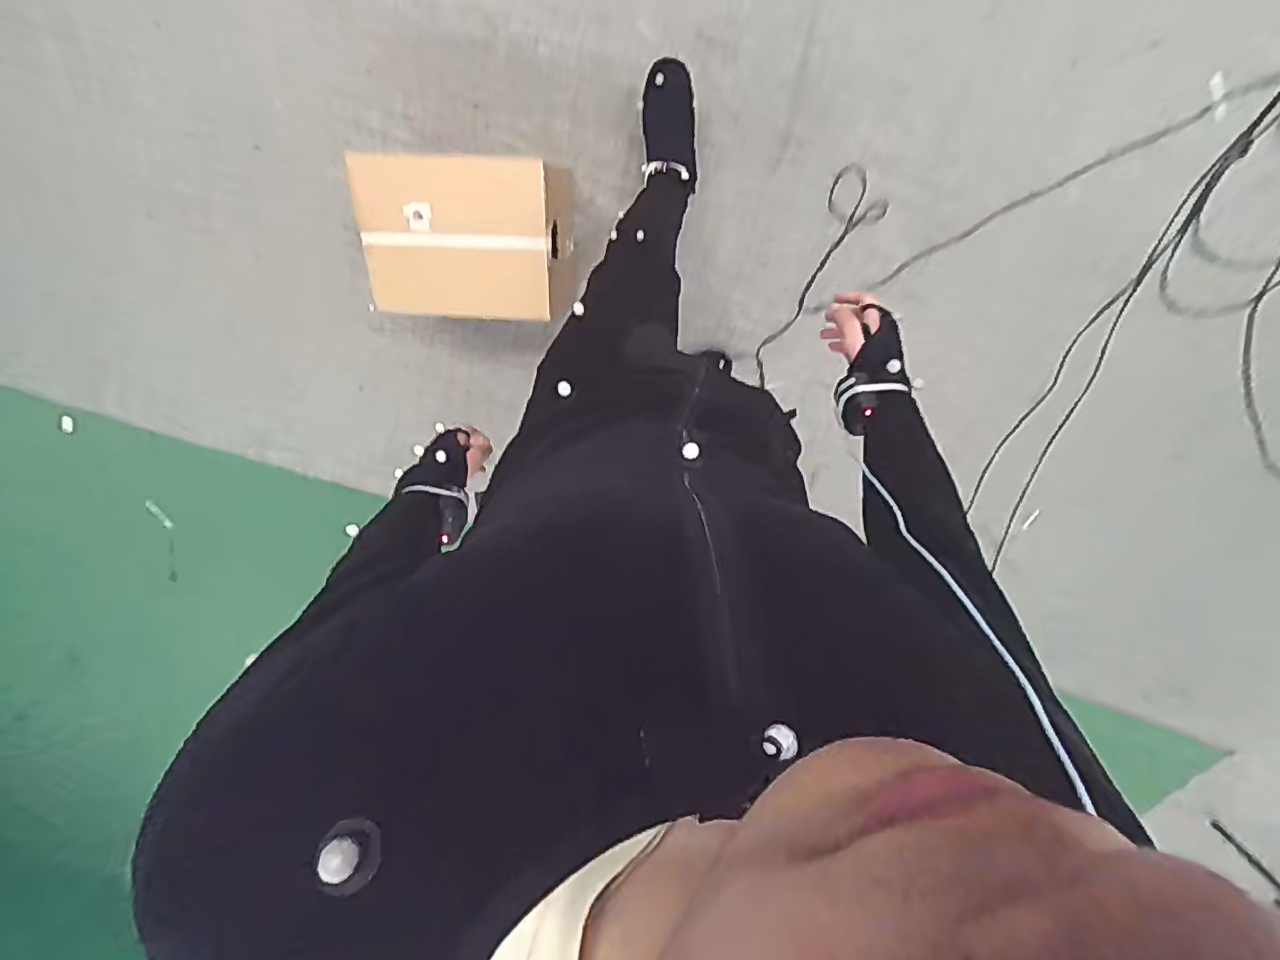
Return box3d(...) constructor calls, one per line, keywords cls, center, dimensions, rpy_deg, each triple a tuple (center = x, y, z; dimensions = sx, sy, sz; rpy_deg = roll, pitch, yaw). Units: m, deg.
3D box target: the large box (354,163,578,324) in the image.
box3d(cls="large box", center=(-0.377, -0.566, 1.286), dimensions=(0.408, 0.320, 0.320), rpy_deg=(4, 117, 3))
